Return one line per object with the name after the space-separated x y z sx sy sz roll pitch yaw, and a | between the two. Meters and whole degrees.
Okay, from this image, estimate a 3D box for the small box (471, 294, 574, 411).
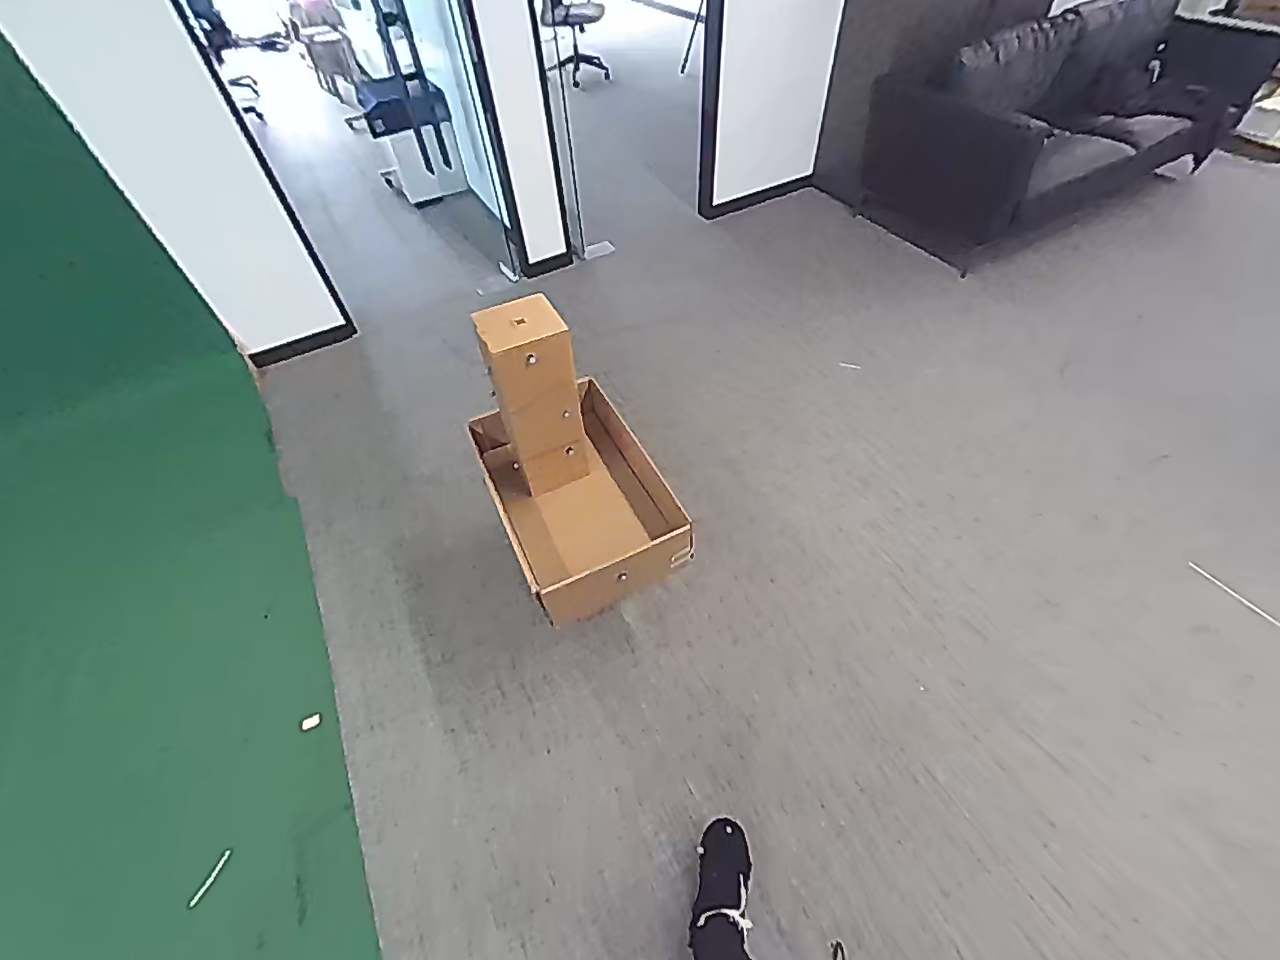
-0.259 -0.289 1.231 0.179 0.176 0.168 -23 54 -16 | small box
